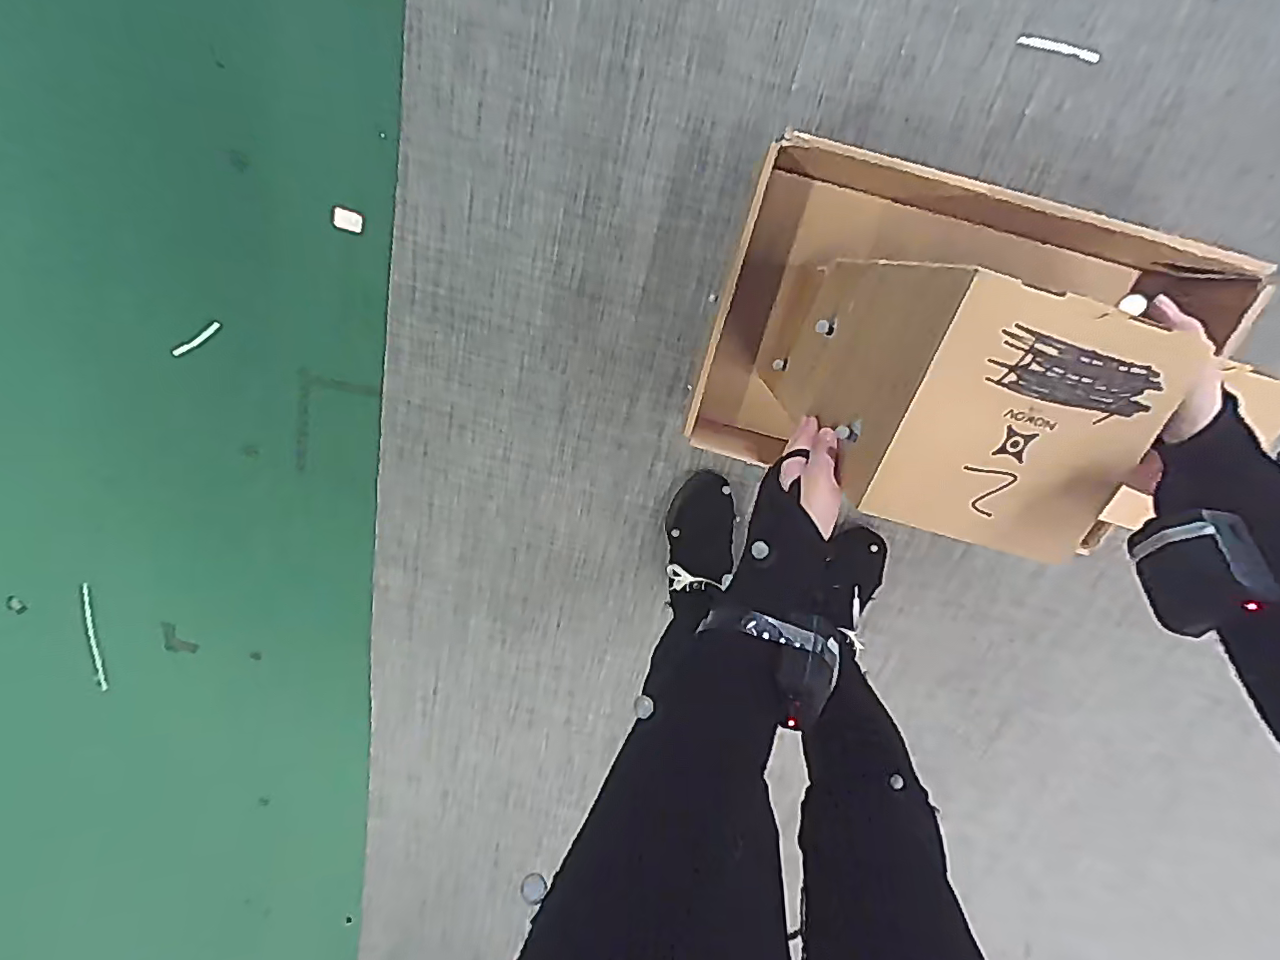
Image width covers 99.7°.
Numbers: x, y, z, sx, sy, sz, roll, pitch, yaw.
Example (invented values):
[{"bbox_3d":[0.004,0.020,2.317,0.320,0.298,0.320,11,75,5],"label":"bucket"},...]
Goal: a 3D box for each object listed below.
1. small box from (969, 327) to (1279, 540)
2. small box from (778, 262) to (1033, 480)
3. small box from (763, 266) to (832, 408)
[{"bbox_3d":[0.519,-0.064,0.615,0.168,0.176,0.179,17,112,0],"label":"small box"},{"bbox_3d":[0.271,-0.129,0.605,0.168,0.176,0.179,18,111,-4],"label":"small box"},{"bbox_3d":[0.283,-0.189,0.758,0.168,0.176,0.179,13,113,-4],"label":"small box"}]
